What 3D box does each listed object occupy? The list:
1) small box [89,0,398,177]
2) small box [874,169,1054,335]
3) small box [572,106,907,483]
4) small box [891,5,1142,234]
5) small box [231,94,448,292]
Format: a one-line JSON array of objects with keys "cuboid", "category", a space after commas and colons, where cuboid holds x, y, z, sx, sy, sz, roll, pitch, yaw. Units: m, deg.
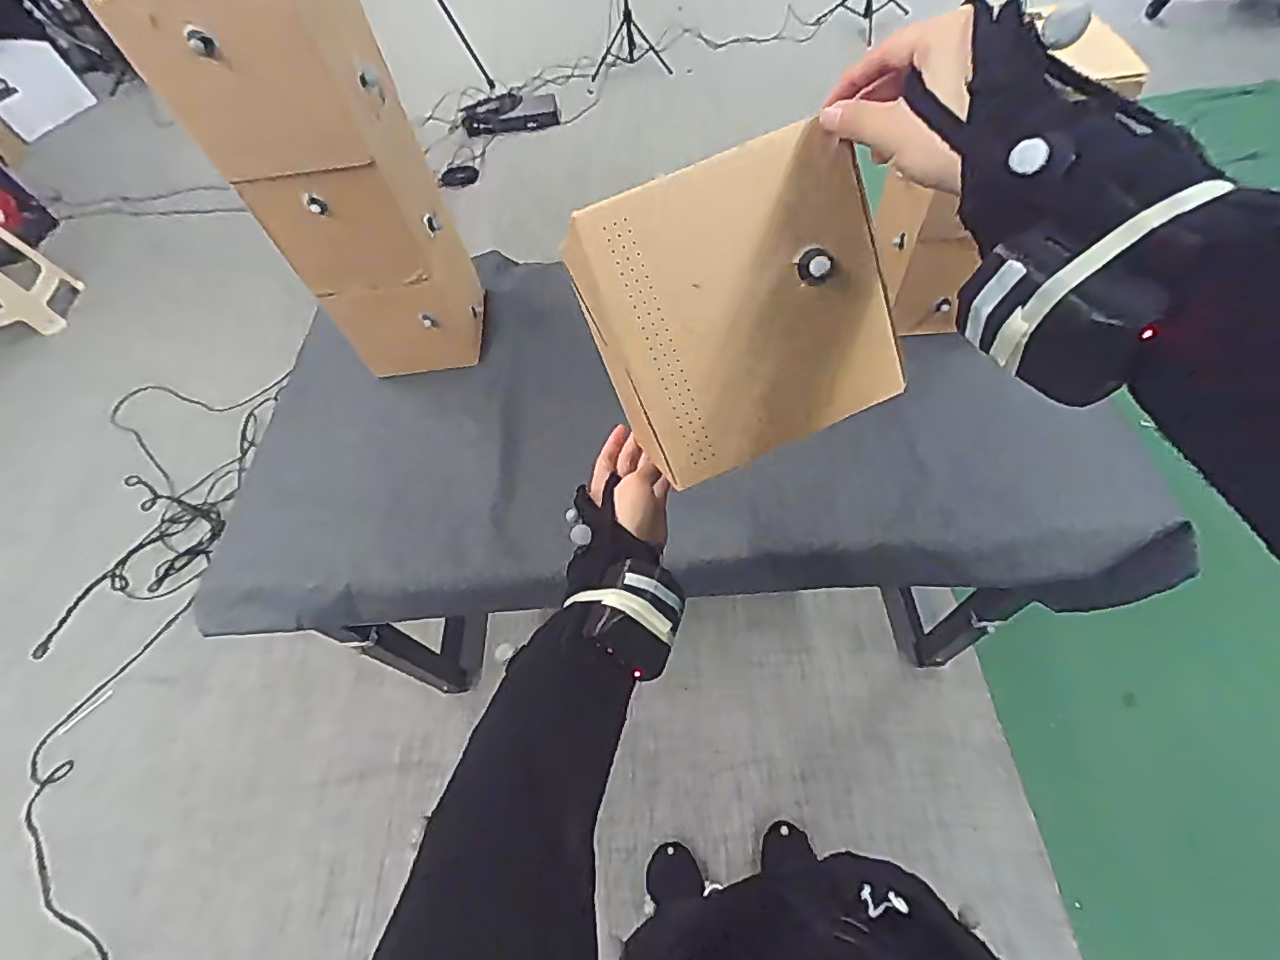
[{"cuboid": [-0.389, -0.448, 0.571, 0.179, 0.176, 0.168, -5, 60, 2], "category": "small box"}, {"cuboid": [0.441, -0.334, 0.785, 0.168, 0.176, 0.179, -2, 59, 6], "category": "small box"}, {"cuboid": [0.055, -0.122, 0.398, 0.176, 0.179, 0.168, -23, 17, -3], "category": "small box"}, {"cuboid": [0.419, -0.414, 0.643, 0.168, 0.176, 0.179, -2, 60, 6], "category": "small box"}, {"cuboid": [-0.377, -0.371, 0.716, 0.179, 0.176, 0.168, -7, 60, 1], "category": "small box"}]
